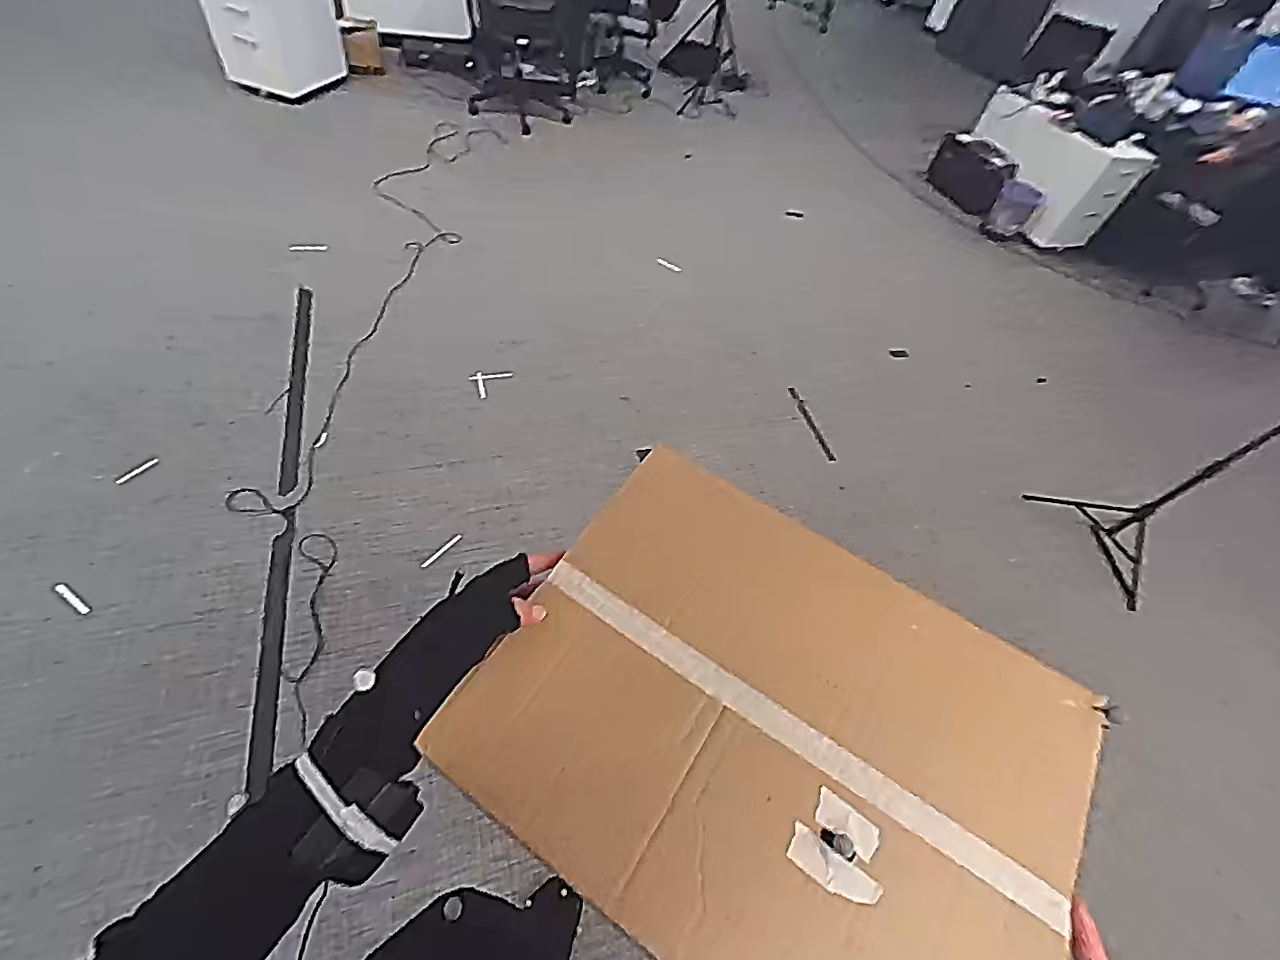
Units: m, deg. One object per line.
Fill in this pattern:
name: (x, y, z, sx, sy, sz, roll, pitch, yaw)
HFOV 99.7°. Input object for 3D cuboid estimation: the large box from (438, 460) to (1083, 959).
large box: (0.092, 0.256, 0.530, 0.408, 0.320, 0.320, 31, 63, 15)
